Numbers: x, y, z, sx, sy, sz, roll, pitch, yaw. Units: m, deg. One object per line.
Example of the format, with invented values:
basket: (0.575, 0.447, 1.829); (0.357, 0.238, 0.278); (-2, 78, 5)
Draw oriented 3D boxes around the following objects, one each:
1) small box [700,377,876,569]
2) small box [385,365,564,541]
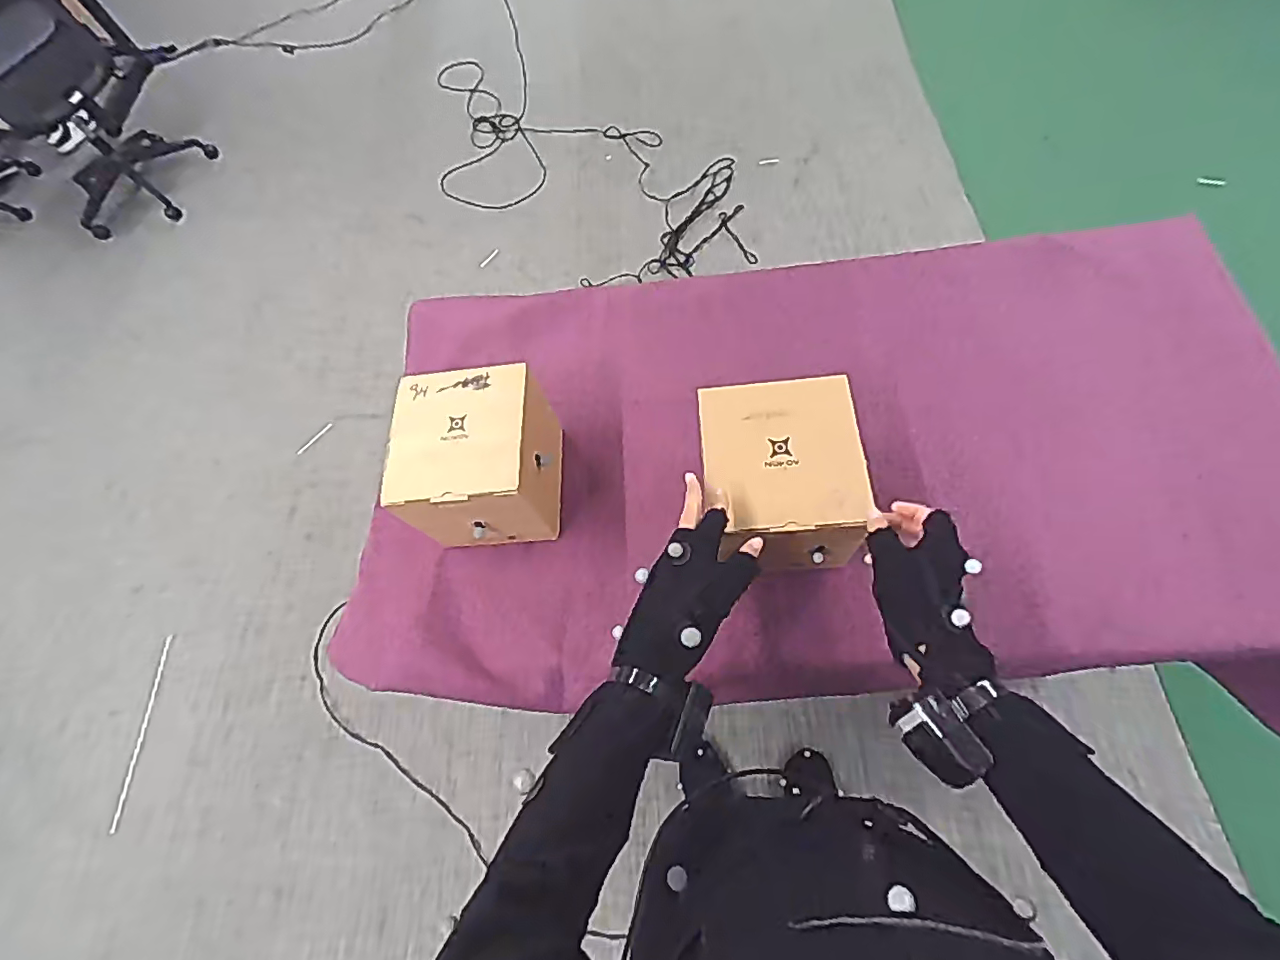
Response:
small box: (0.161, 0.003, 0.640); (0.168, 0.176, 0.179); (-4, 65, 7)
small box: (-0.201, -0.024, 0.707); (0.168, 0.176, 0.179); (-5, 66, 6)
